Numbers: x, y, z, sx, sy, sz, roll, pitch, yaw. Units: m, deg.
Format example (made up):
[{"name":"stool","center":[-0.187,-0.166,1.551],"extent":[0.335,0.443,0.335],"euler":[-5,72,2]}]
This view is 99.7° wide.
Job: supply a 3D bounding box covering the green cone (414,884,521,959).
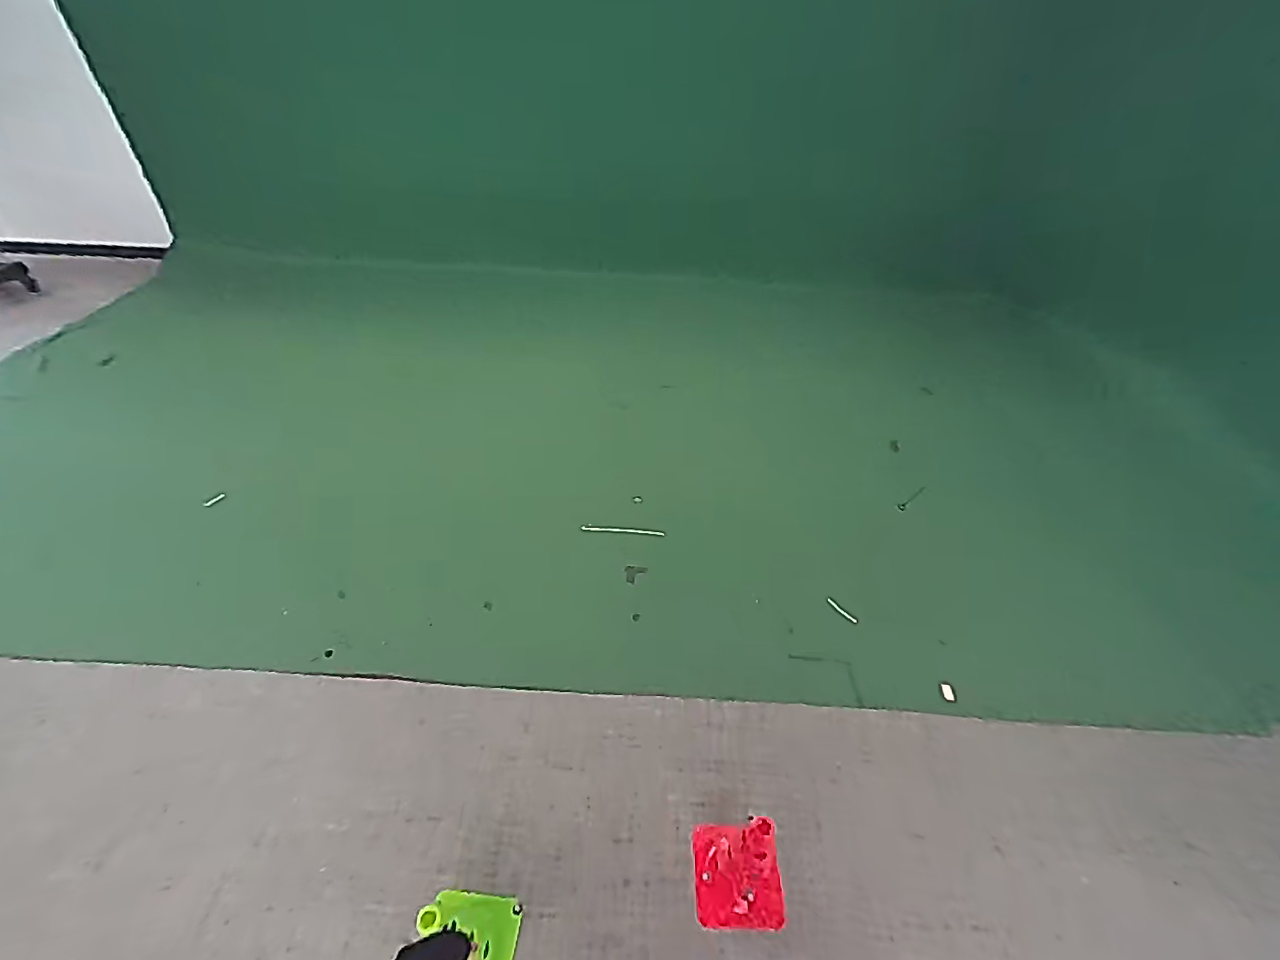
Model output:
[{"name":"green cone","center":[-0.366,0.863,1.029],"extent":[0.200,0.368,0.202],"euler":[5,43,3]}]
